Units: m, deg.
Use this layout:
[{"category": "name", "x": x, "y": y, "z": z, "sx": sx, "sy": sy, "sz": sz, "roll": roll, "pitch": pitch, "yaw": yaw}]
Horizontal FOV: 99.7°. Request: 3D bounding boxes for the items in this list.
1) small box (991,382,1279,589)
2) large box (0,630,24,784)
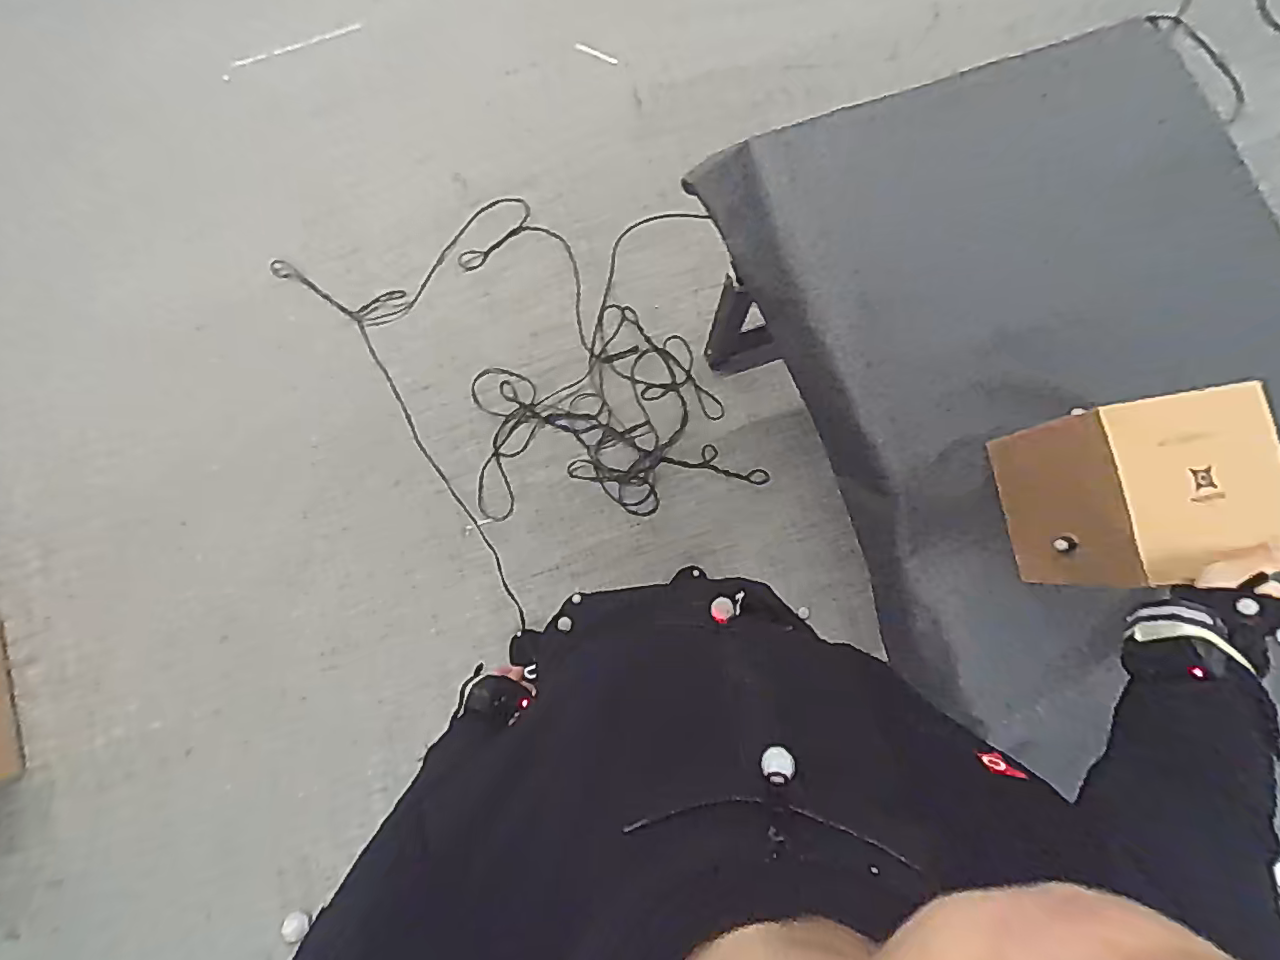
[{"category": "small box", "x": 0.526, "y": 0.013, "z": 0.584, "sx": 0.168, "sy": 0.176, "sz": 0.179, "roll": -10, "pitch": 82, "yaw": -3}, {"category": "large box", "x": -1.696, "y": 0.559, "z": 1.185, "sx": 0.320, "sy": 0.320, "sz": 0.408, "roll": -19, "pitch": 81, "yaw": -3}]
